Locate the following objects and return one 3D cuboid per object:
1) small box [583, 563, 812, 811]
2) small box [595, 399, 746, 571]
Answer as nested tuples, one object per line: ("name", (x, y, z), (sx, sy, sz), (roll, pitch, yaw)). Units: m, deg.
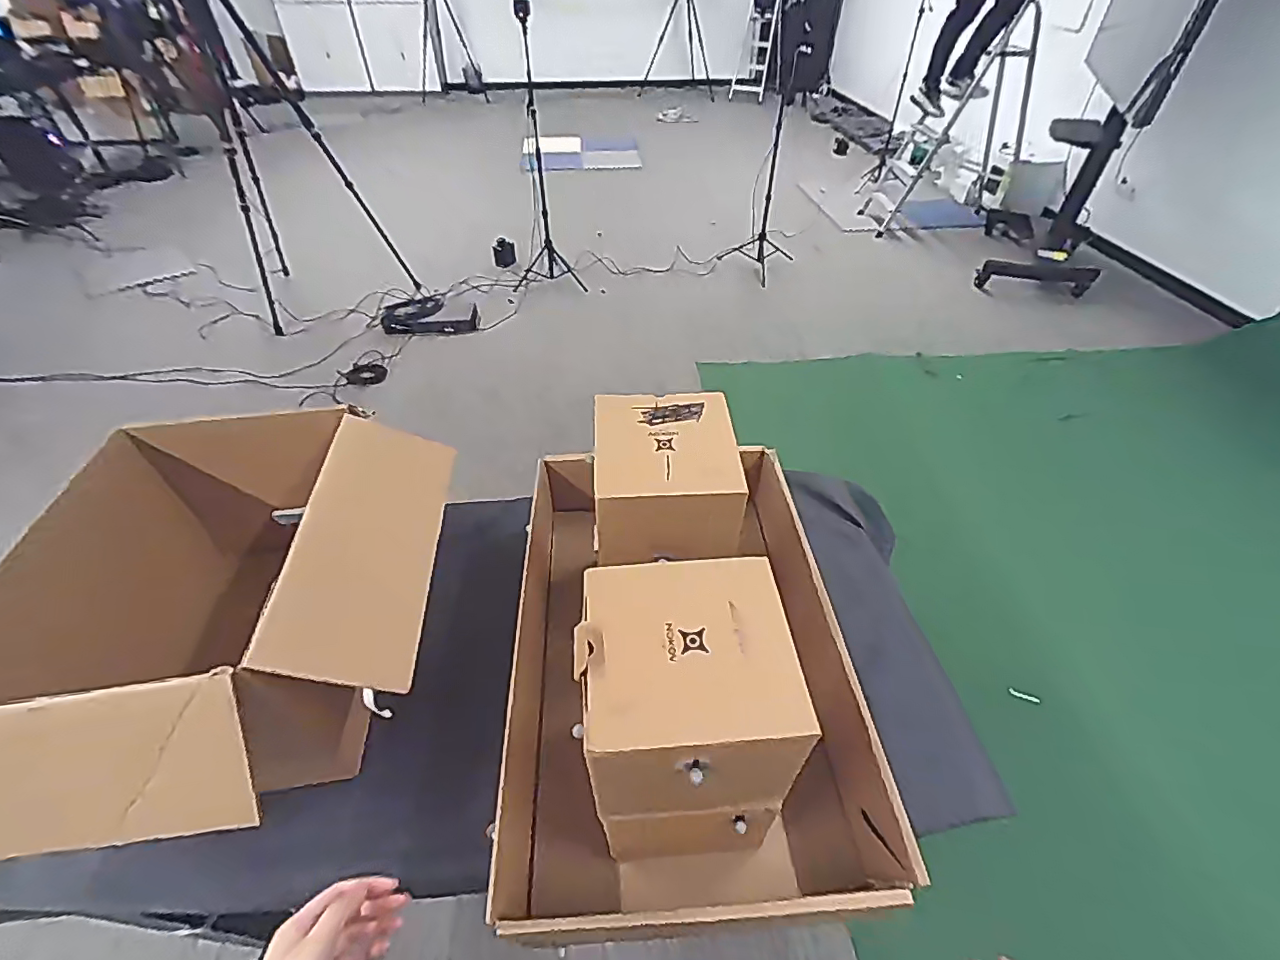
("small box", (0.039, 0.198, 0.514), (0.179, 0.176, 0.168), (-2, 45, -4))
("small box", (0.028, 0.015, 0.690), (0.168, 0.176, 0.179), (-1, 48, -2))
